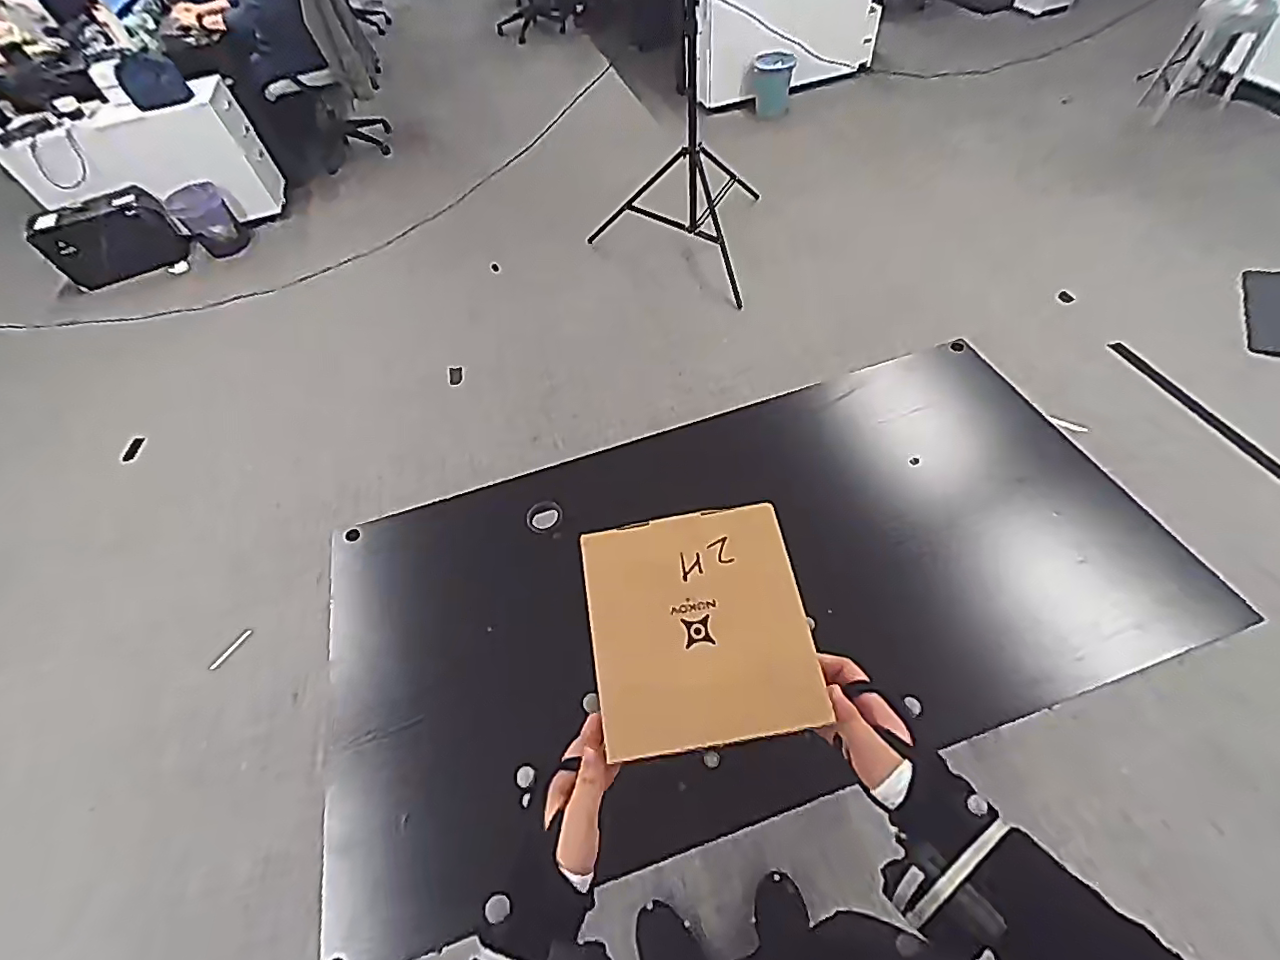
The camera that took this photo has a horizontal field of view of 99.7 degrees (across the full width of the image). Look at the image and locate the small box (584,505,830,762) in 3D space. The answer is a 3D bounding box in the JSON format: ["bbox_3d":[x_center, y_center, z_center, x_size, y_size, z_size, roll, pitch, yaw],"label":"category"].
[{"bbox_3d":[0.051,0.145,0.491,0.168,0.176,0.179,-10,62,-1],"label":"small box"}]
